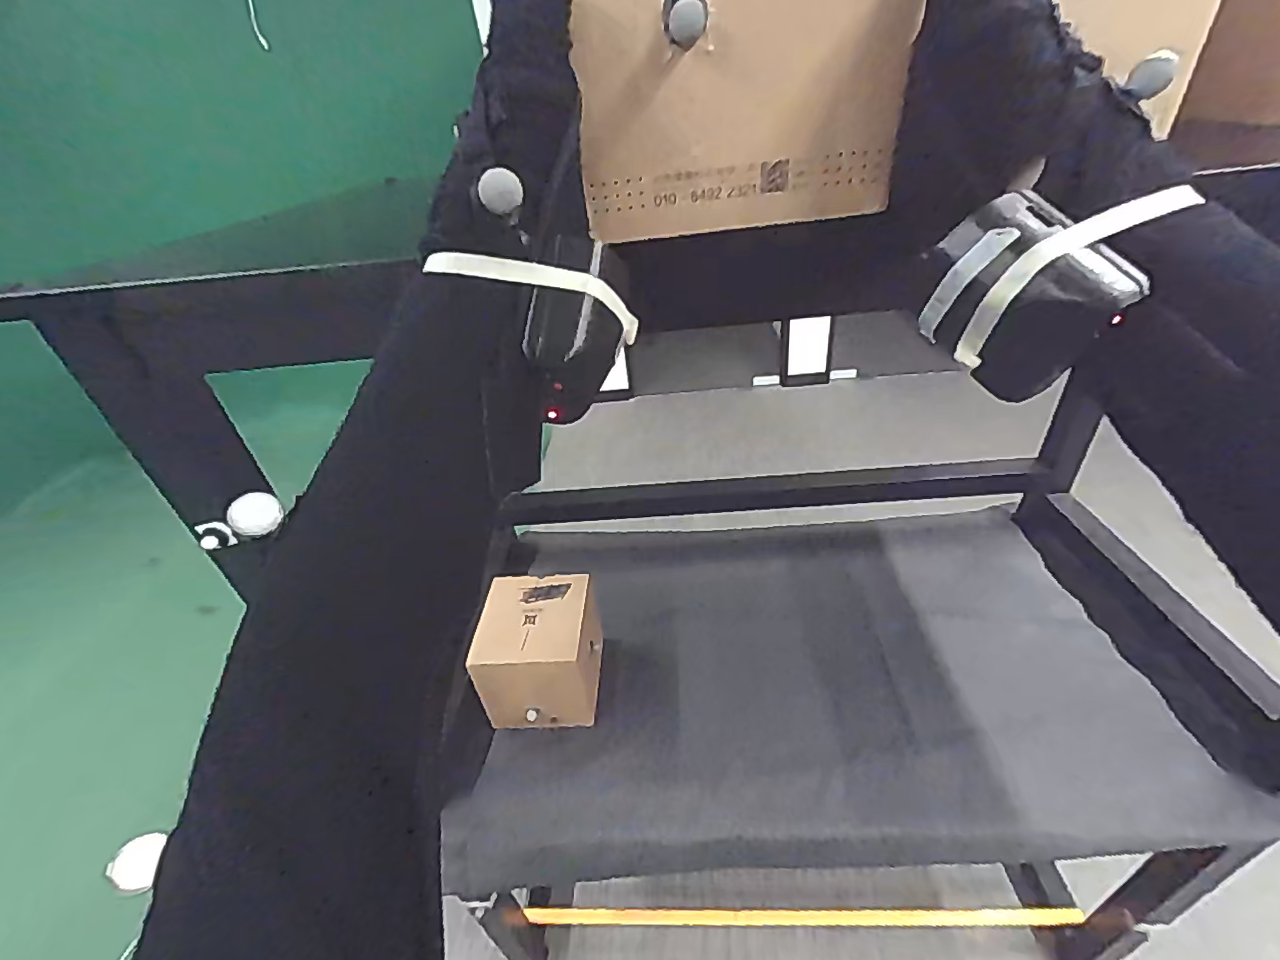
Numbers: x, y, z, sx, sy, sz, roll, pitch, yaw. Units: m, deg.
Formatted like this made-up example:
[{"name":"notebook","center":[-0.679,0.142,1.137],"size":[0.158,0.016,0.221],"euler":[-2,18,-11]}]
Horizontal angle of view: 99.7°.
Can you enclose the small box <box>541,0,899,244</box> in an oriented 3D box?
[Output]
[{"name":"small box","center":[0.040,-0.248,0.315],"size":[0.168,0.176,0.179],"euler":[-5,40,3]}]

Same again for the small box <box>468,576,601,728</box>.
[{"name":"small box","center":[-0.159,0.280,0.888],"size":[0.168,0.176,0.179],"euler":[-4,35,5]}]

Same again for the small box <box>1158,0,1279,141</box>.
[{"name":"small box","center":[0.517,-0.334,0.363],"size":[0.168,0.176,0.179],"euler":[3,35,14]}]
